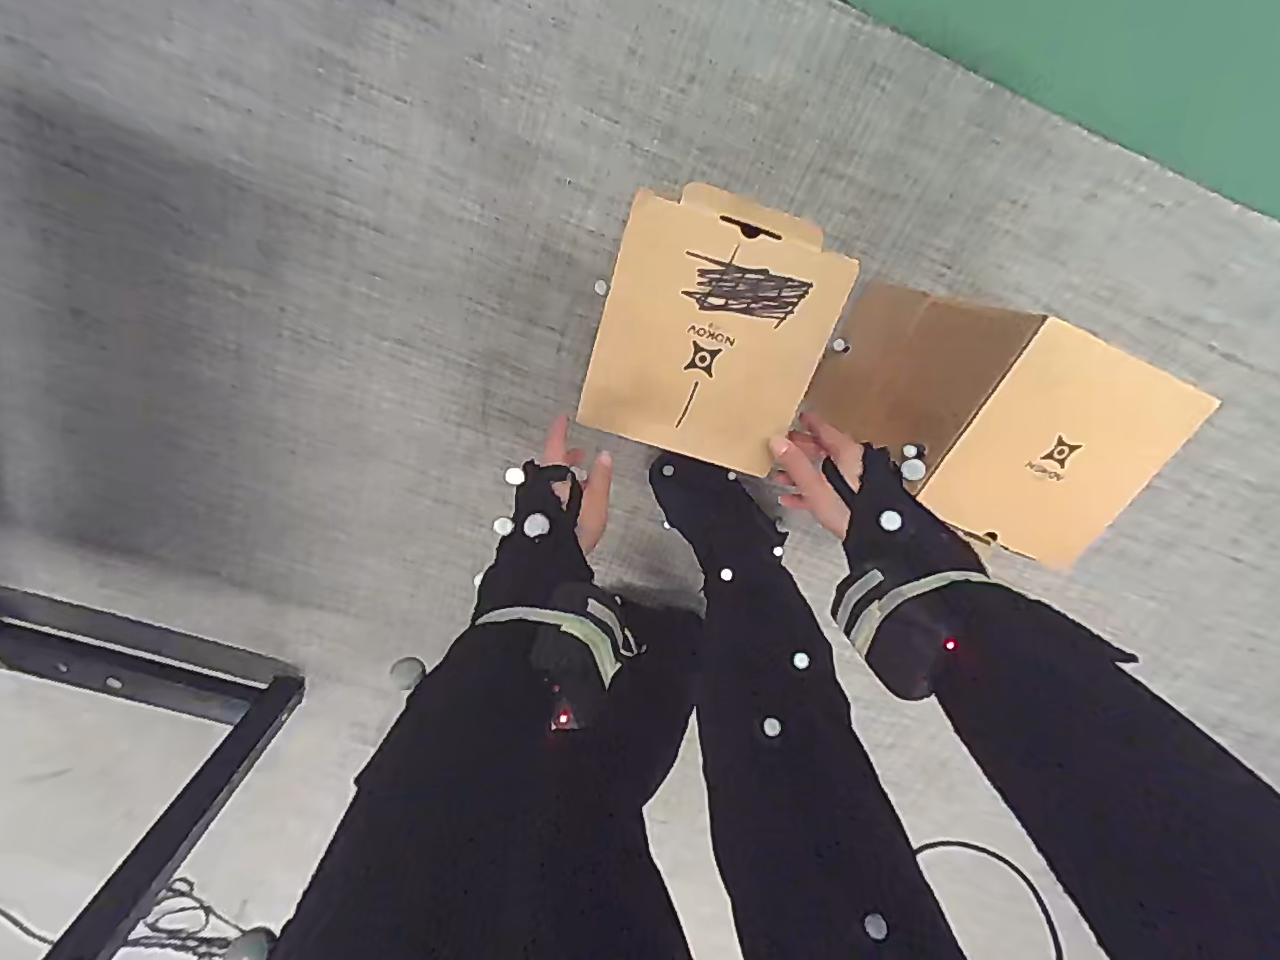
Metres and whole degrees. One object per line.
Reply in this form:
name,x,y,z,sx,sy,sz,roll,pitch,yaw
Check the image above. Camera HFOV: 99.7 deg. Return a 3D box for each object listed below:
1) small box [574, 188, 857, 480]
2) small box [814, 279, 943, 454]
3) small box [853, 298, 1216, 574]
small box,0.051,-0.130,0.470,0.168,0.176,0.179,16,115,-5
small box,0.330,-0.119,0.649,0.168,0.176,0.179,20,115,-9
small box,0.330,-0.051,0.501,0.168,0.176,0.179,22,113,-9
